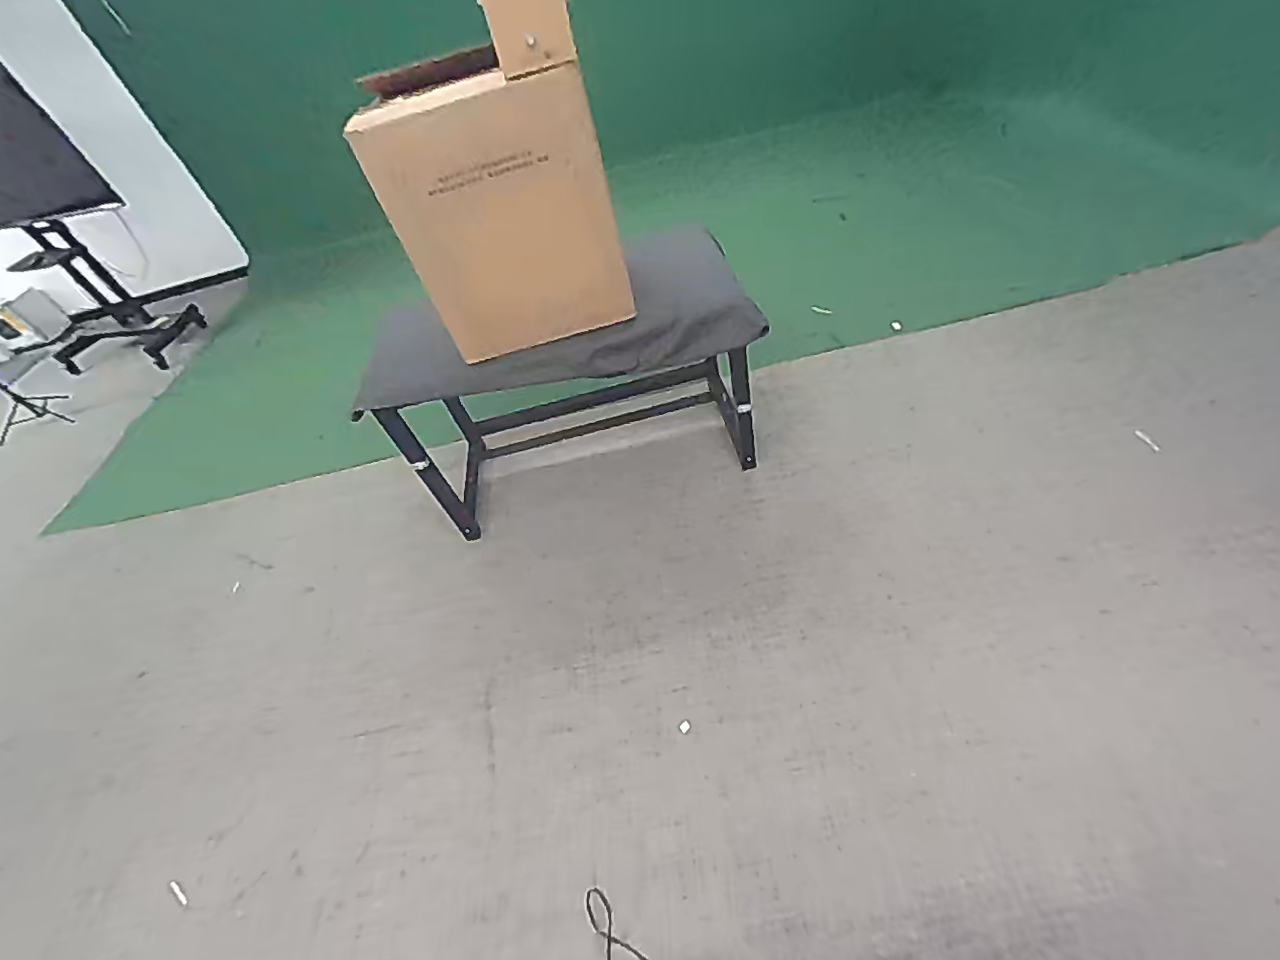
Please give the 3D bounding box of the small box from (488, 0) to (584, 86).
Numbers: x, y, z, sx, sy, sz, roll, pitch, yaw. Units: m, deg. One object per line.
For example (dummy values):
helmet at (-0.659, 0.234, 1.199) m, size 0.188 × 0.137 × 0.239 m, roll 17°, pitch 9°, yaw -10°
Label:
small box at (-0.226, -0.987, 1.180) m, size 0.168 × 0.176 × 0.179 m, roll -15°, pitch 46°, yaw 1°
